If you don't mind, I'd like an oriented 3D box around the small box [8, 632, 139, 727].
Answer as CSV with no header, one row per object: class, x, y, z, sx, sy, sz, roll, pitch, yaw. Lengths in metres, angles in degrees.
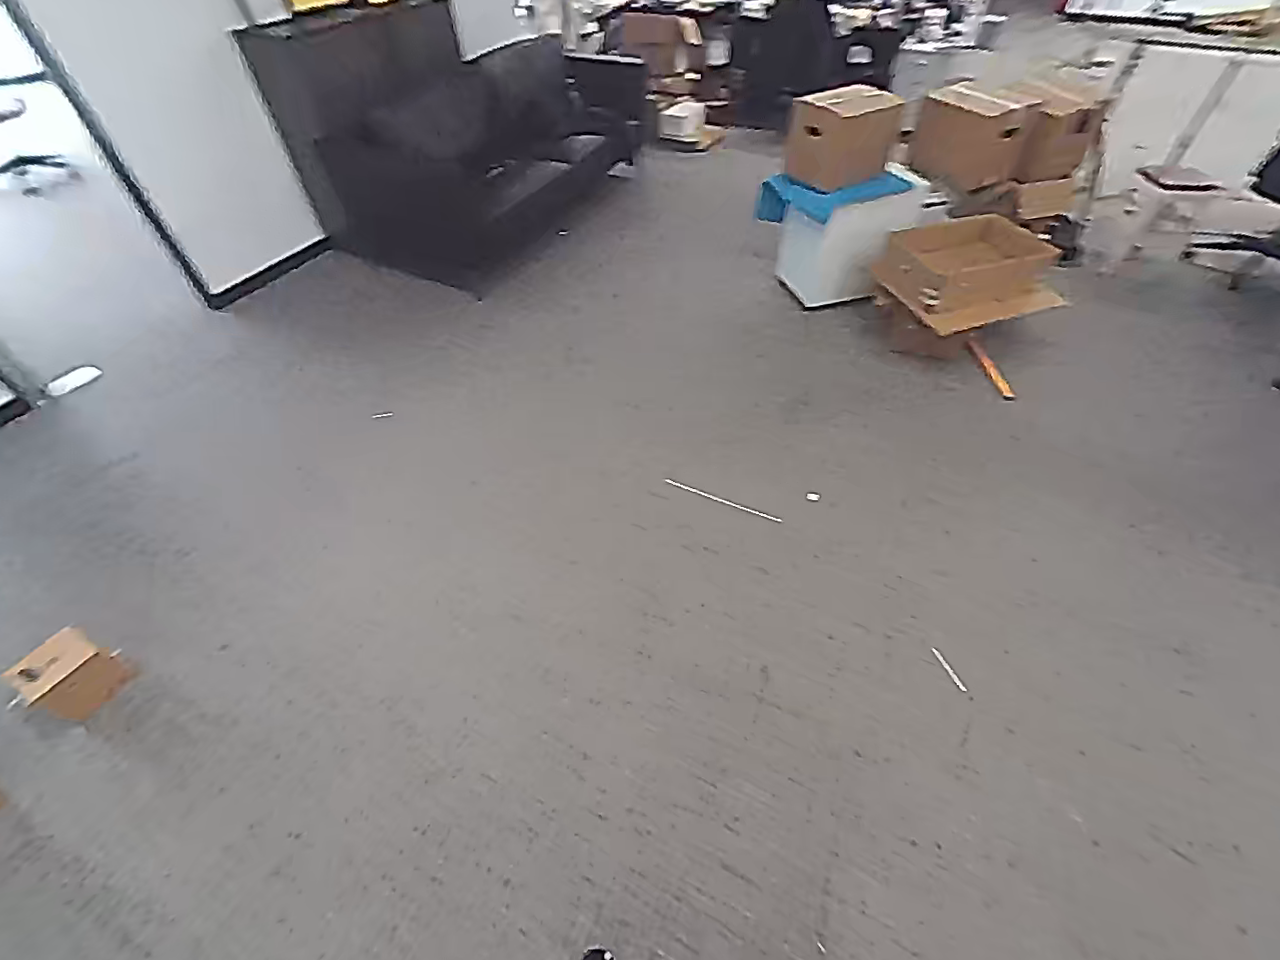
small box,-1.646,0.588,1.583,0.168,0.176,0.179,22,51,20
